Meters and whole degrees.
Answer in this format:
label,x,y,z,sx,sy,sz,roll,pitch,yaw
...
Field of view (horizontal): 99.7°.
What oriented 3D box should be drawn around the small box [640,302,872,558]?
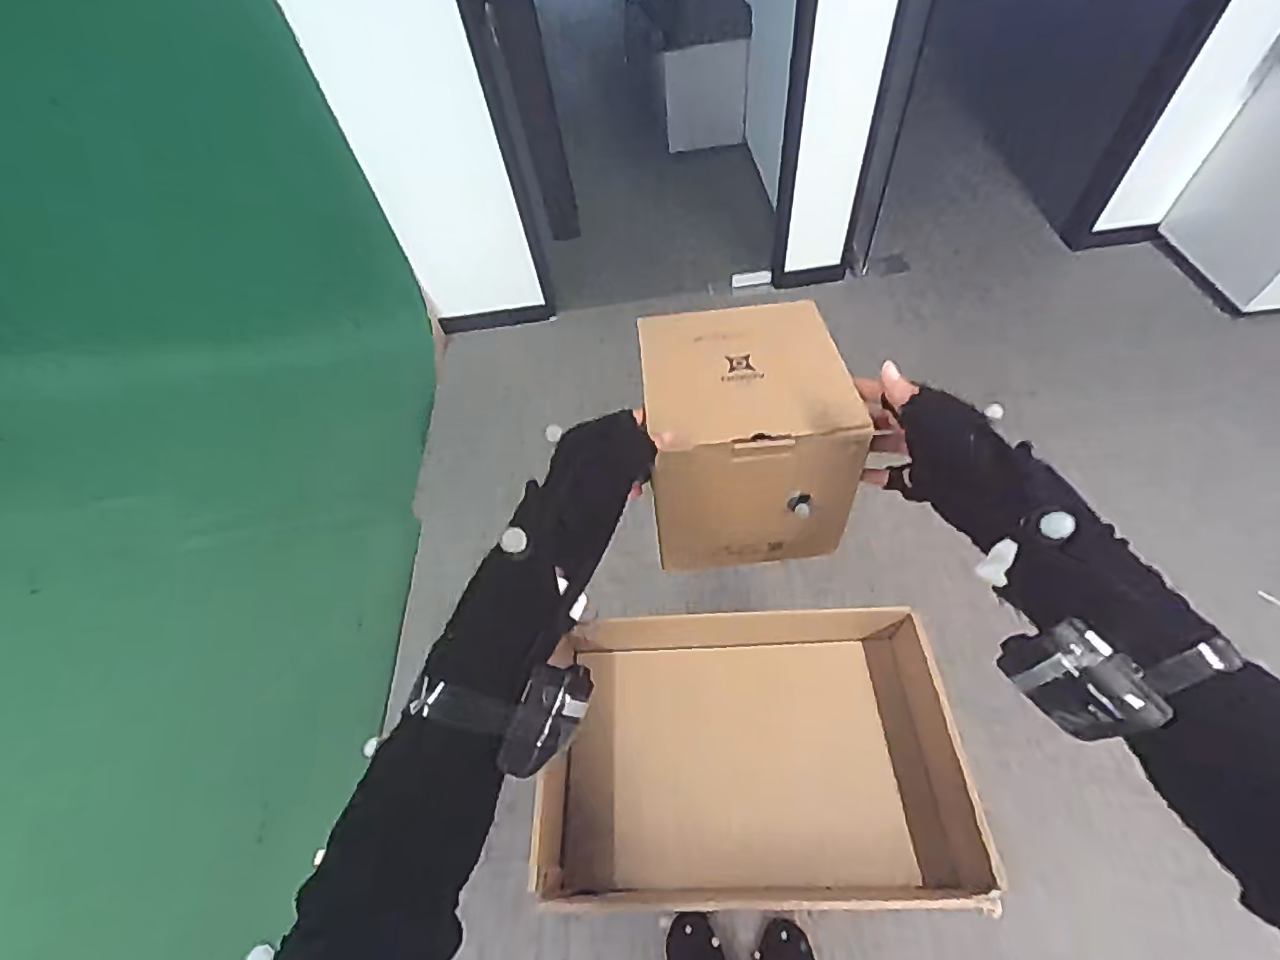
label,x,y,z,sx,sy,sz,roll,pitch,yaw
small box,0.091,-0.040,0.504,0.168,0.176,0.179,-5,47,1
